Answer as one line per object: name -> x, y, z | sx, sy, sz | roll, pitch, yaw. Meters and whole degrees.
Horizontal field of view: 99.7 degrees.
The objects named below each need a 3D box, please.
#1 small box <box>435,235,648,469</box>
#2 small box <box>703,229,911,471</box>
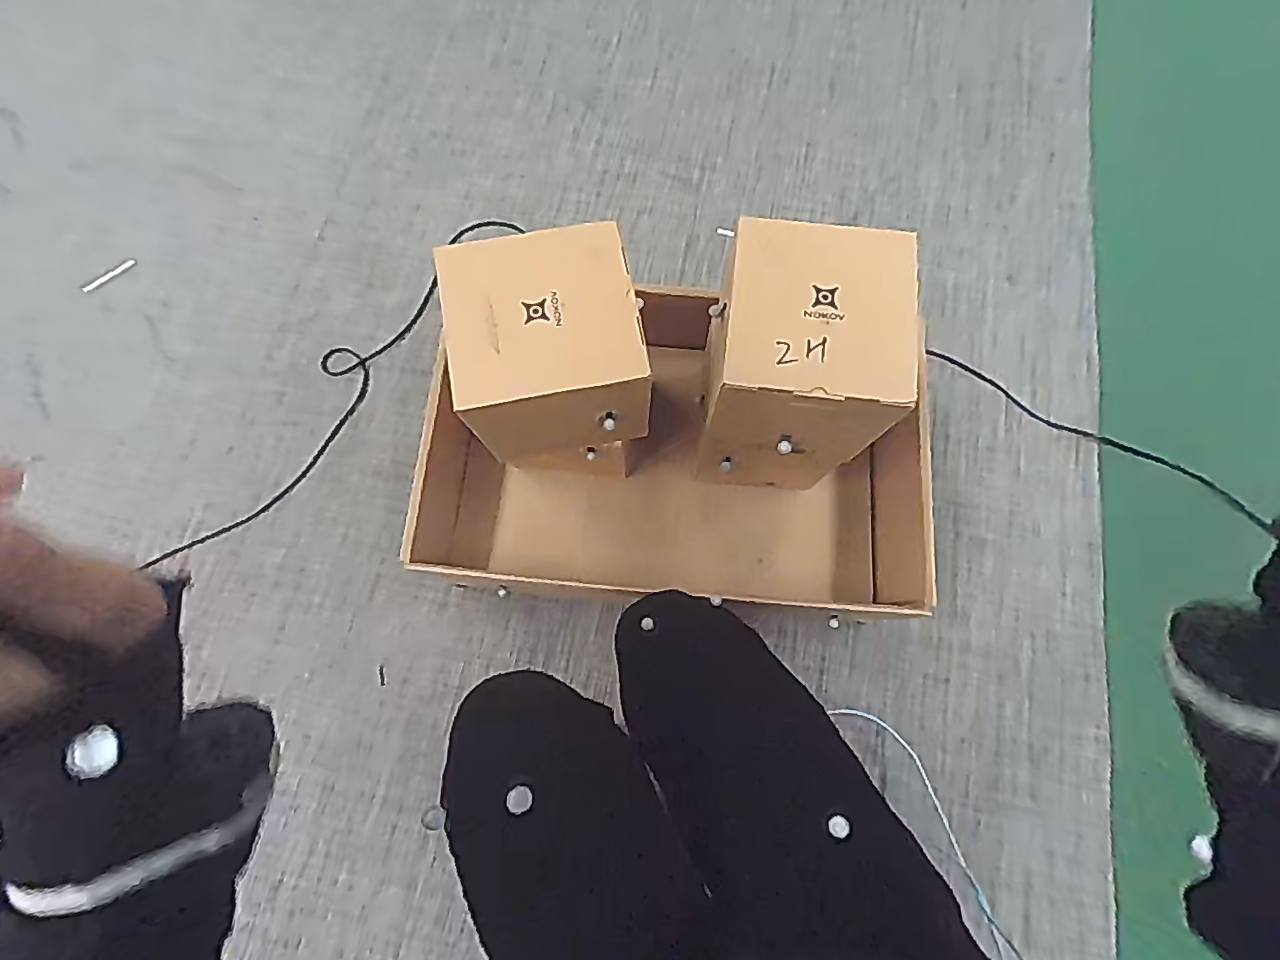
small box -> -0.093, -0.121, 0.566 | 0.179, 0.176, 0.168 | -10, 76, -3
small box -> 0.159, -0.123, 0.559 | 0.168, 0.176, 0.179 | 7, 76, 3
